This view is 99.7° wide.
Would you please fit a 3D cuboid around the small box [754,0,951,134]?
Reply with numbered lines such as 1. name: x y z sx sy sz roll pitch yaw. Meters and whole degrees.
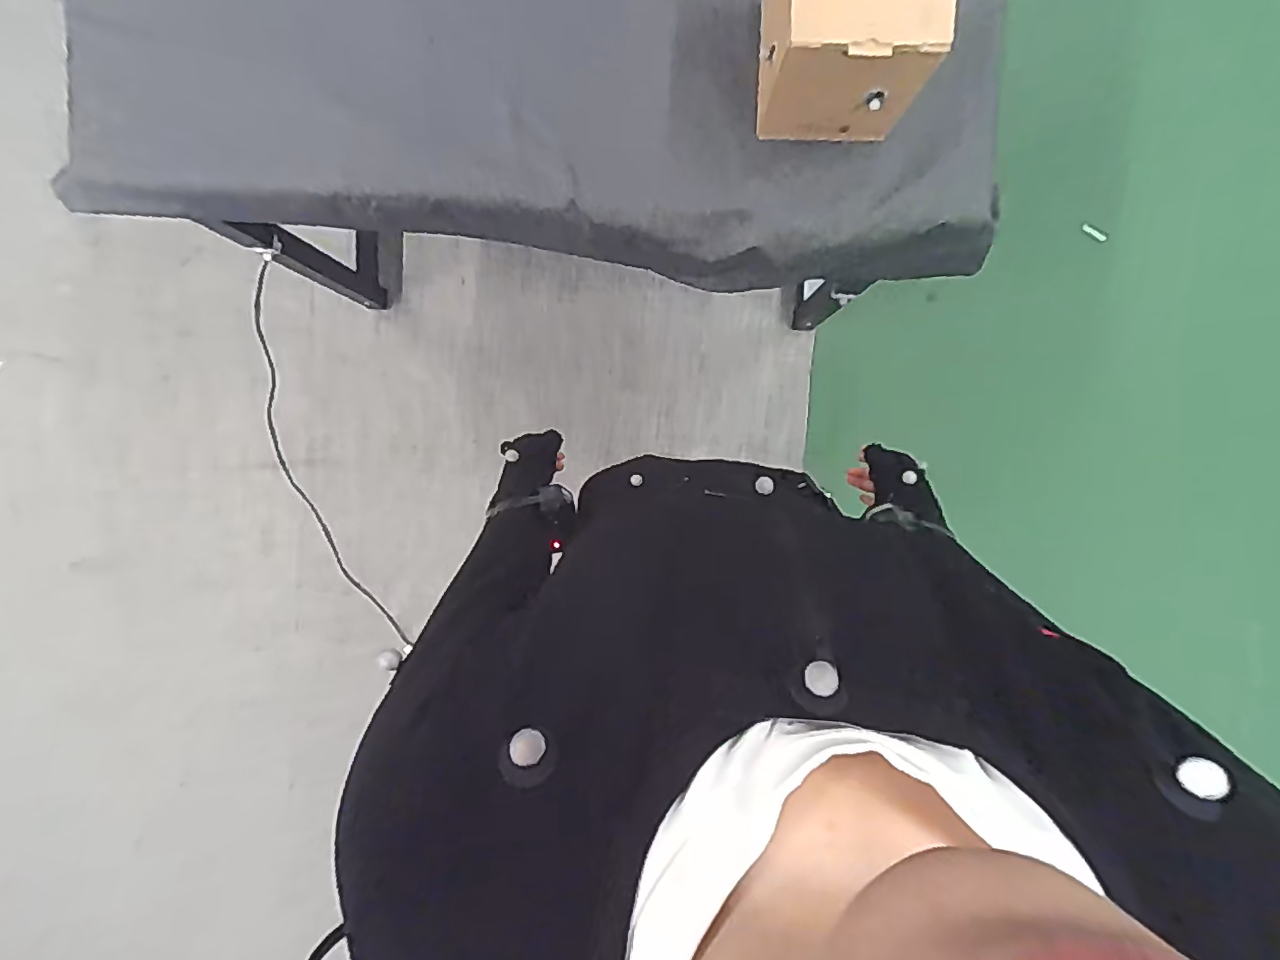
1. small box: 0.229 -0.526 0.616 0.168 0.176 0.179 1 92 0
